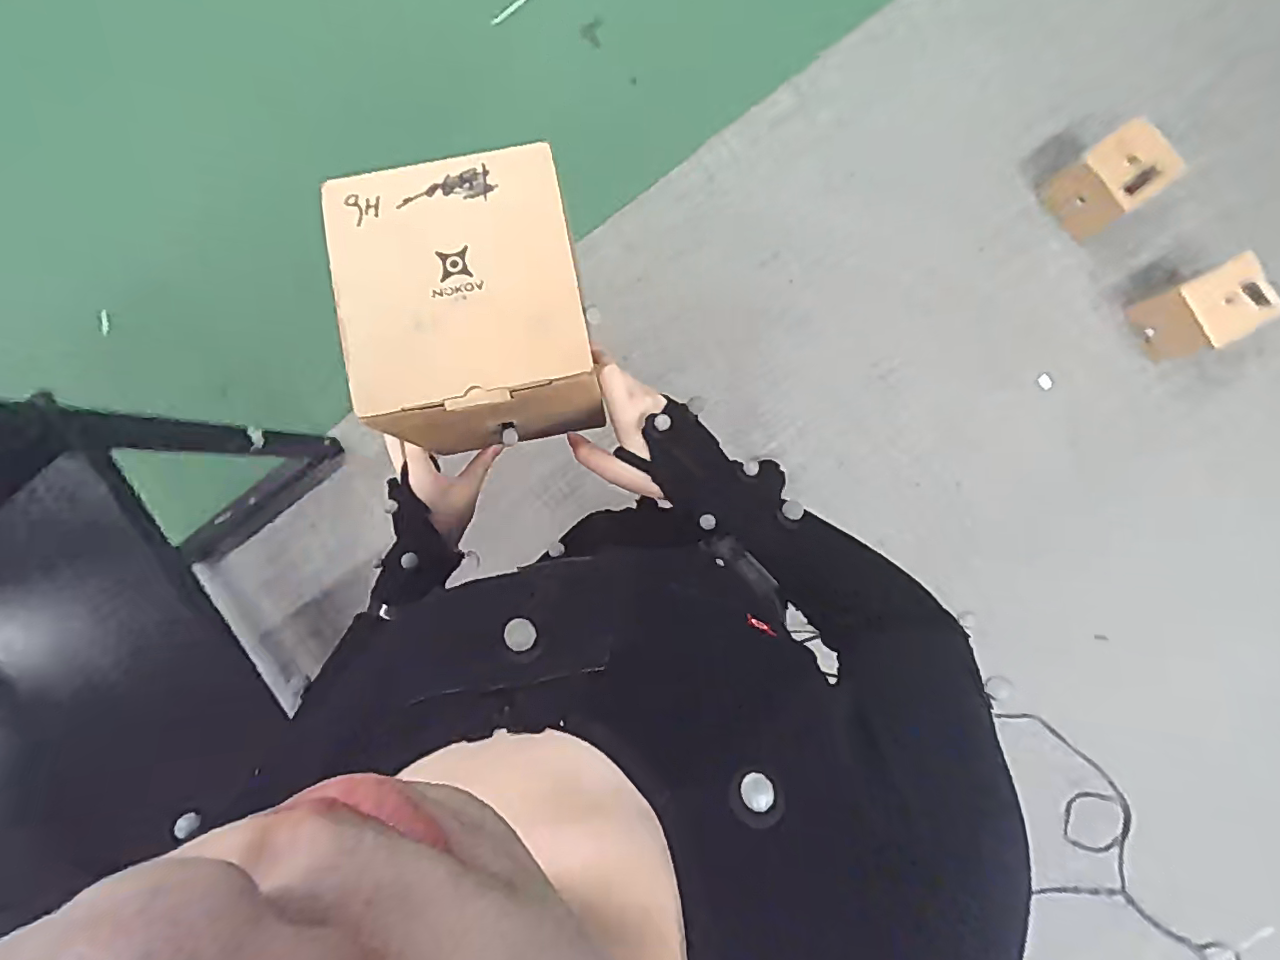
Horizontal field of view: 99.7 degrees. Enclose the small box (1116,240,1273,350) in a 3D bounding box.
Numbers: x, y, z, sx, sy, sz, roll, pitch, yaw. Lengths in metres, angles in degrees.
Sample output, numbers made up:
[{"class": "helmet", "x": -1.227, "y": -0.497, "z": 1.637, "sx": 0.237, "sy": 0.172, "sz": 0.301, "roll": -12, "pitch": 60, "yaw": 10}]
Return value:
[{"class": "small box", "x": 1.342, "y": -0.444, "z": 1.323, "sx": 0.179, "sy": 0.176, "sz": 0.168, "roll": -30, "pitch": 89, "yaw": 5}]
